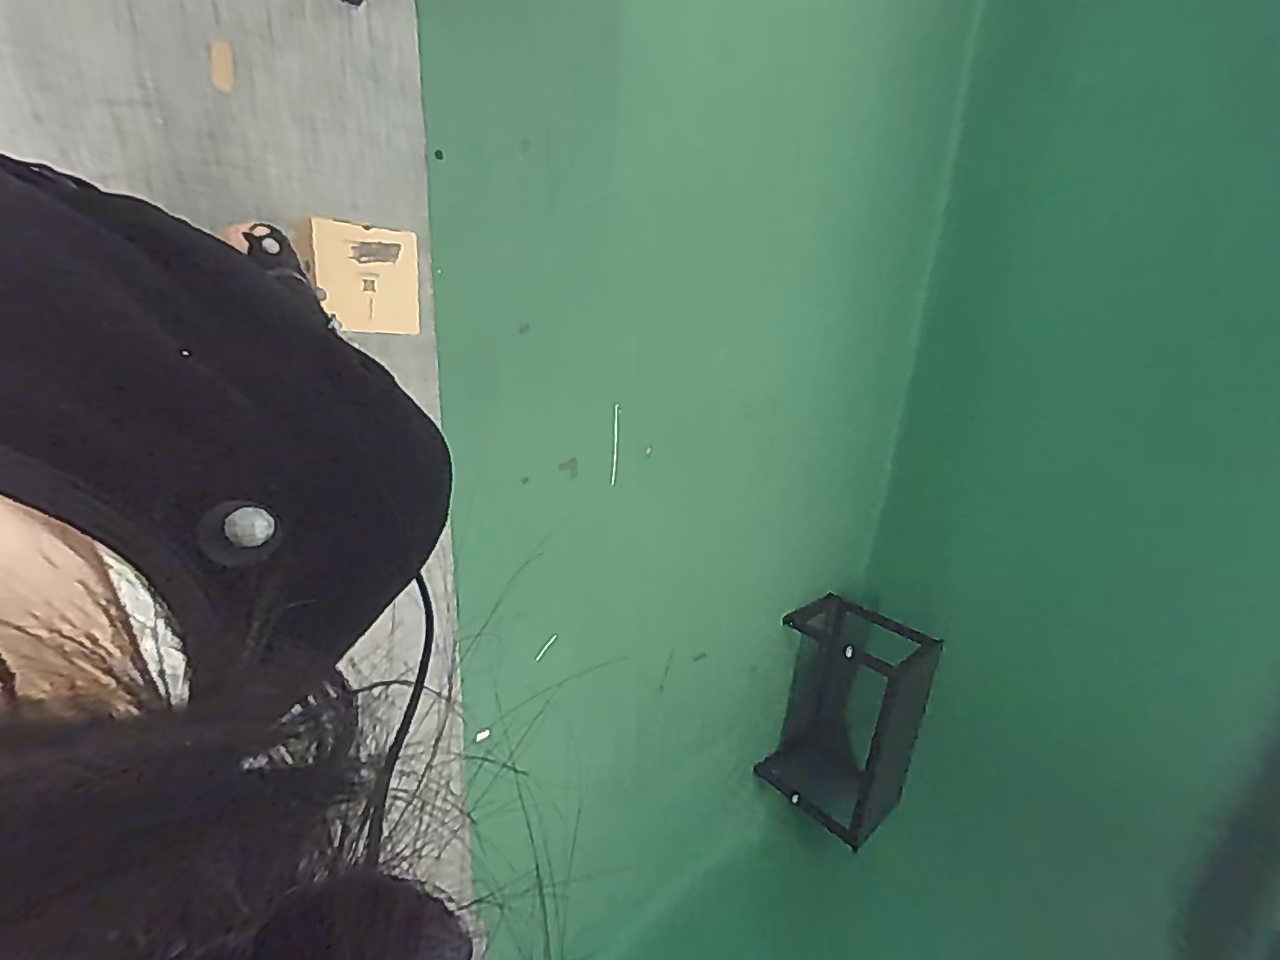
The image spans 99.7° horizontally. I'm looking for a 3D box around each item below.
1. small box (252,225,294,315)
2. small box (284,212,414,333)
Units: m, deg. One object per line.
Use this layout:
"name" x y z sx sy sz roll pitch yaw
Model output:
"small box" -0.741 -0.445 1.197 0.179 0.176 0.168 1 105 -44
"small box" -0.520 -0.365 0.967 0.168 0.176 0.179 -10 114 -42
